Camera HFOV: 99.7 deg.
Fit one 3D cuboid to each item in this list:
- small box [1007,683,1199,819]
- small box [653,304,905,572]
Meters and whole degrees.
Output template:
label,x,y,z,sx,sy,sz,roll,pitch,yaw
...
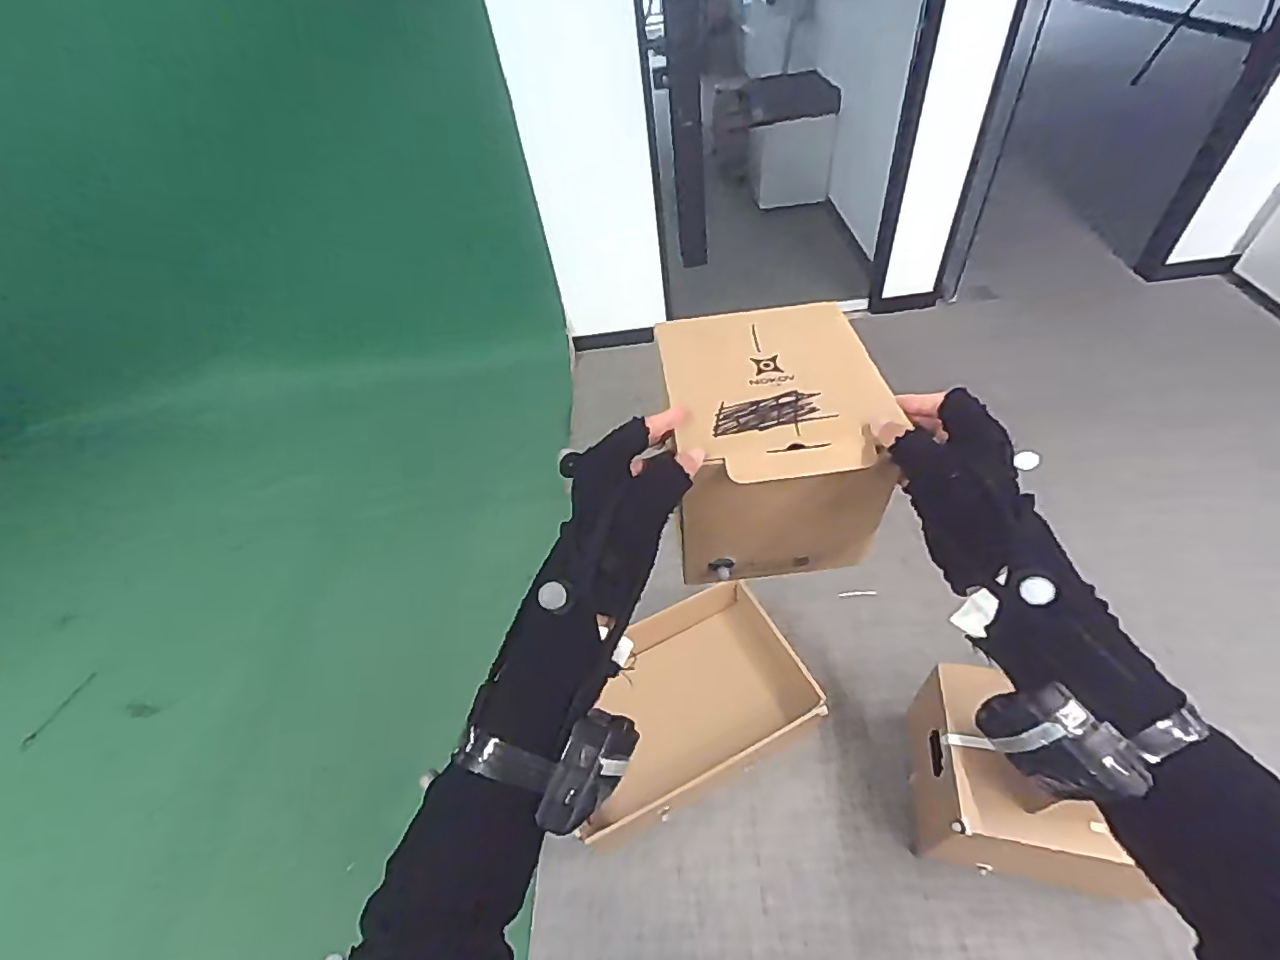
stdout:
label,x,y,z,sx,sy,sz,roll,pitch,yaw
small box,0.756,0.460,0.915,0.179,0.176,0.168,-1,49,10
small box,0.106,-0.030,0.488,0.168,0.176,0.179,-7,49,0
